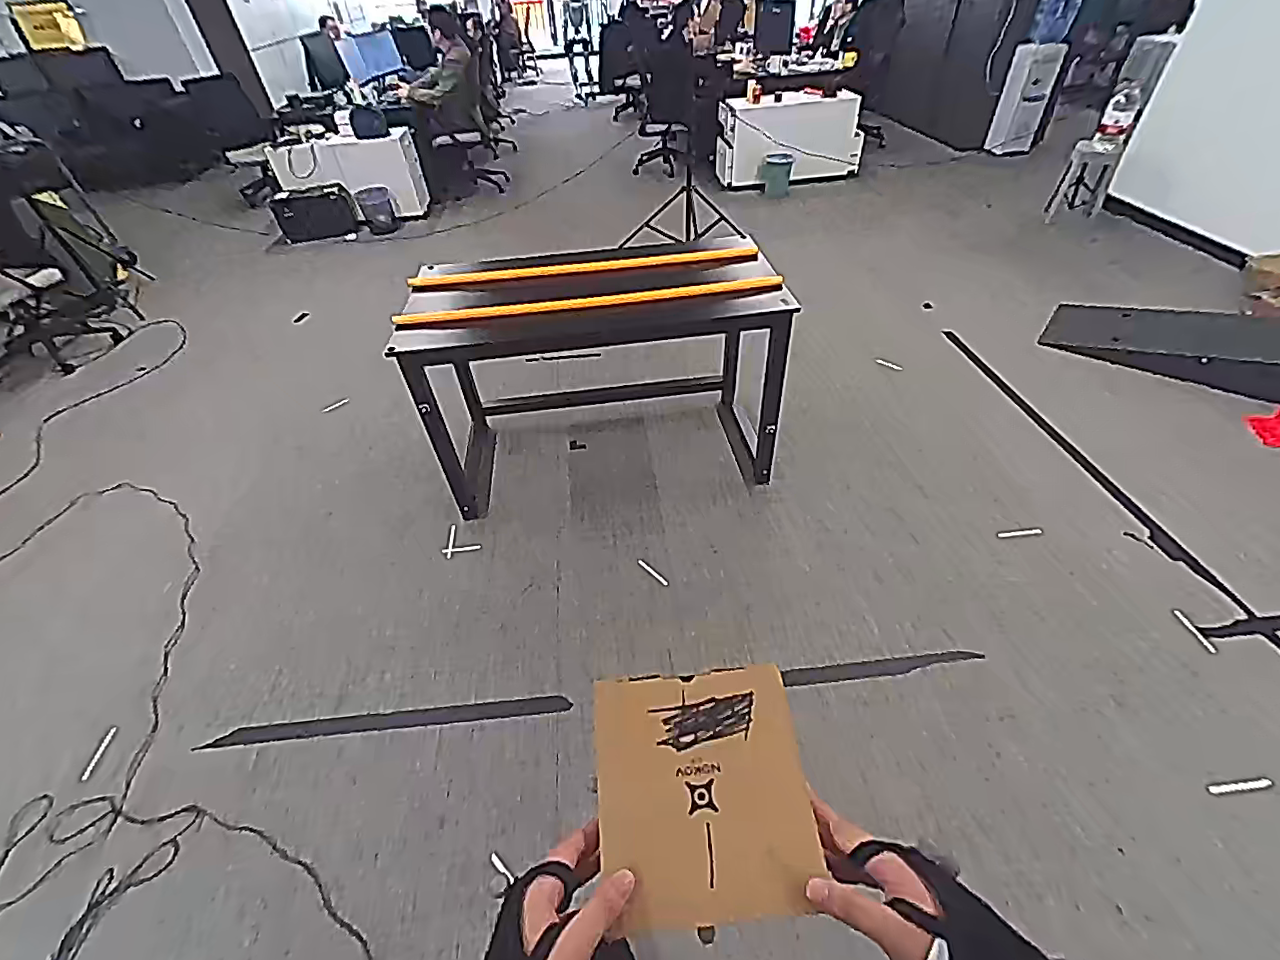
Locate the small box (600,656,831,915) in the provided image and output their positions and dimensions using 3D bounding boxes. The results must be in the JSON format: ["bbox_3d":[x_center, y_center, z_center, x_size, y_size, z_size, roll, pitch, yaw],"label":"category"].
[{"bbox_3d":[0.053,0.283,0.500,0.168,0.176,0.179,-6,53,-1],"label":"small box"}]
